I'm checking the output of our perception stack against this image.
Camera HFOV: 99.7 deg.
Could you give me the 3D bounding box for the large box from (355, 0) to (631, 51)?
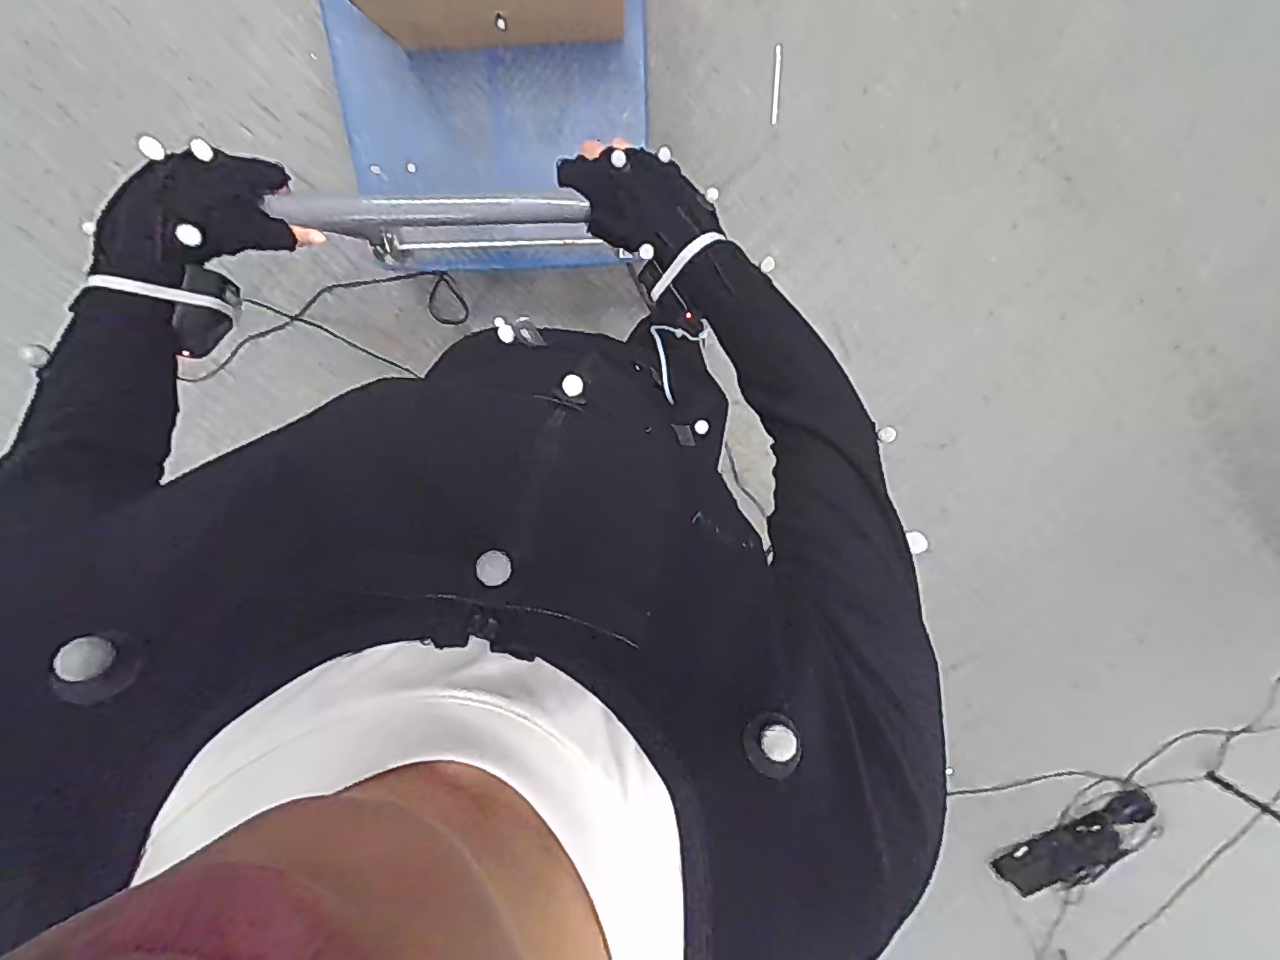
[{"bbox_3d":[-0.226,-0.878,0.794,0.408,0.320,0.320,-4,113,1],"label":"large box"}]
